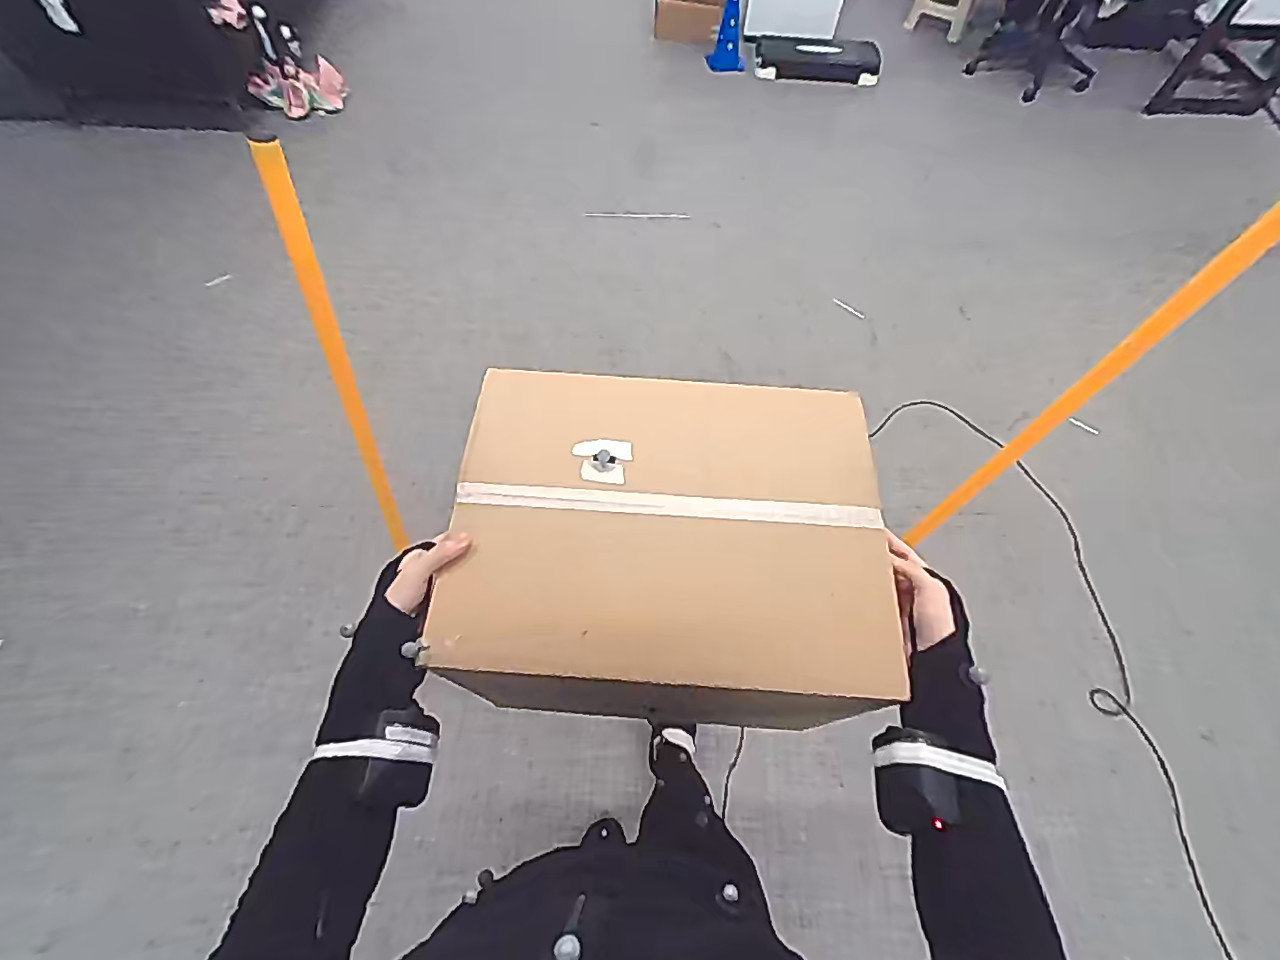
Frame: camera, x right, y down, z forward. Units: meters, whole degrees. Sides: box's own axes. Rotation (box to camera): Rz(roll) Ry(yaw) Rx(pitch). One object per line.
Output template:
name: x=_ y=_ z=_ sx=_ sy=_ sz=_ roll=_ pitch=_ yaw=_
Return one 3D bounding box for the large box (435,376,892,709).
large box: x=0.028 y=0.098 z=0.663 sx=0.408 sy=0.320 sz=0.320 roll=4 pitch=62 yaw=1
